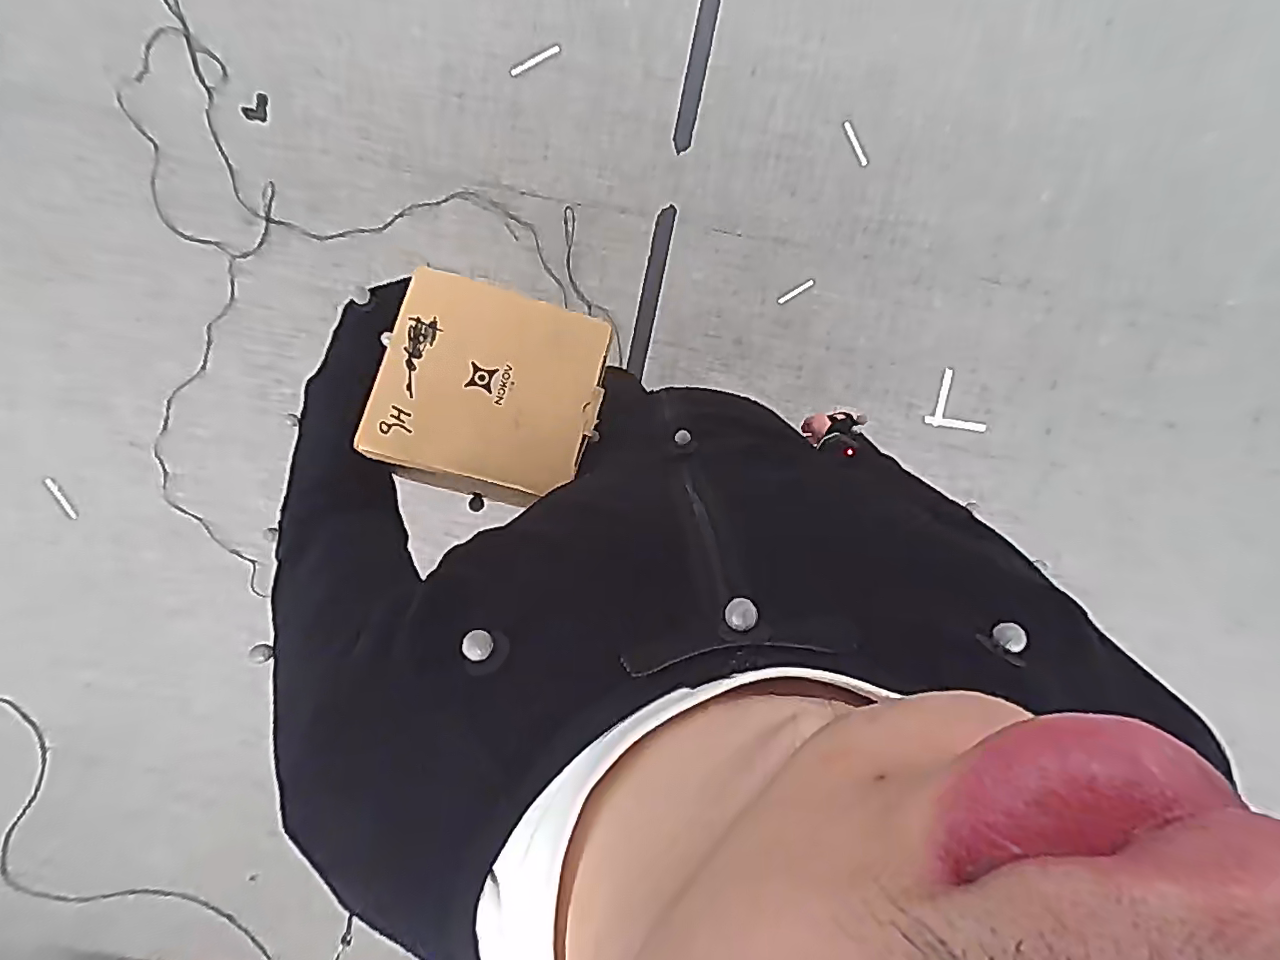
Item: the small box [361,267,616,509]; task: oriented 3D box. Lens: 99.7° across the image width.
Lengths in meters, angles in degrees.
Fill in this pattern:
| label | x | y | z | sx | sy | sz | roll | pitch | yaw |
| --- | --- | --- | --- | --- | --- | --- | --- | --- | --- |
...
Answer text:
| label | x | y | z | sx | sy | sz | roll | pitch | yaw |
| --- | --- | --- | --- | --- | --- | --- | --- | --- | --- |
| small box | -0.138 | -0.072 | 0.536 | 0.179 | 0.176 | 0.168 | 15 | 78 | -9 |
